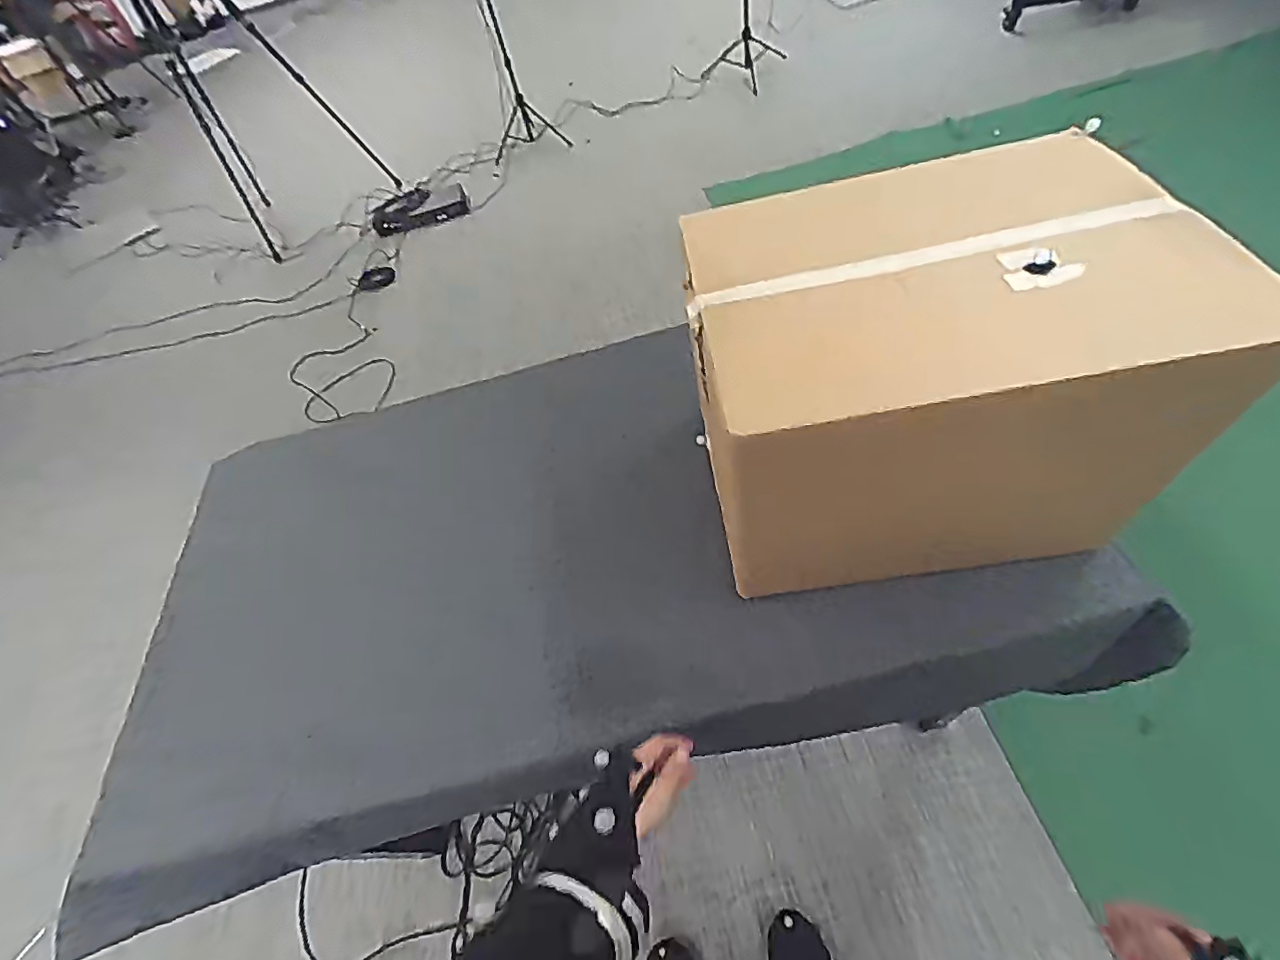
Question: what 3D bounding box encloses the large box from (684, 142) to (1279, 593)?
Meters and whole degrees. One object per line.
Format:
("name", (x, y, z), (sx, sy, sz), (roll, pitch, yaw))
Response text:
("large box", (0.277, -0.103, 0.592), (0.408, 0.320, 0.320), (-9, 54, 5))
